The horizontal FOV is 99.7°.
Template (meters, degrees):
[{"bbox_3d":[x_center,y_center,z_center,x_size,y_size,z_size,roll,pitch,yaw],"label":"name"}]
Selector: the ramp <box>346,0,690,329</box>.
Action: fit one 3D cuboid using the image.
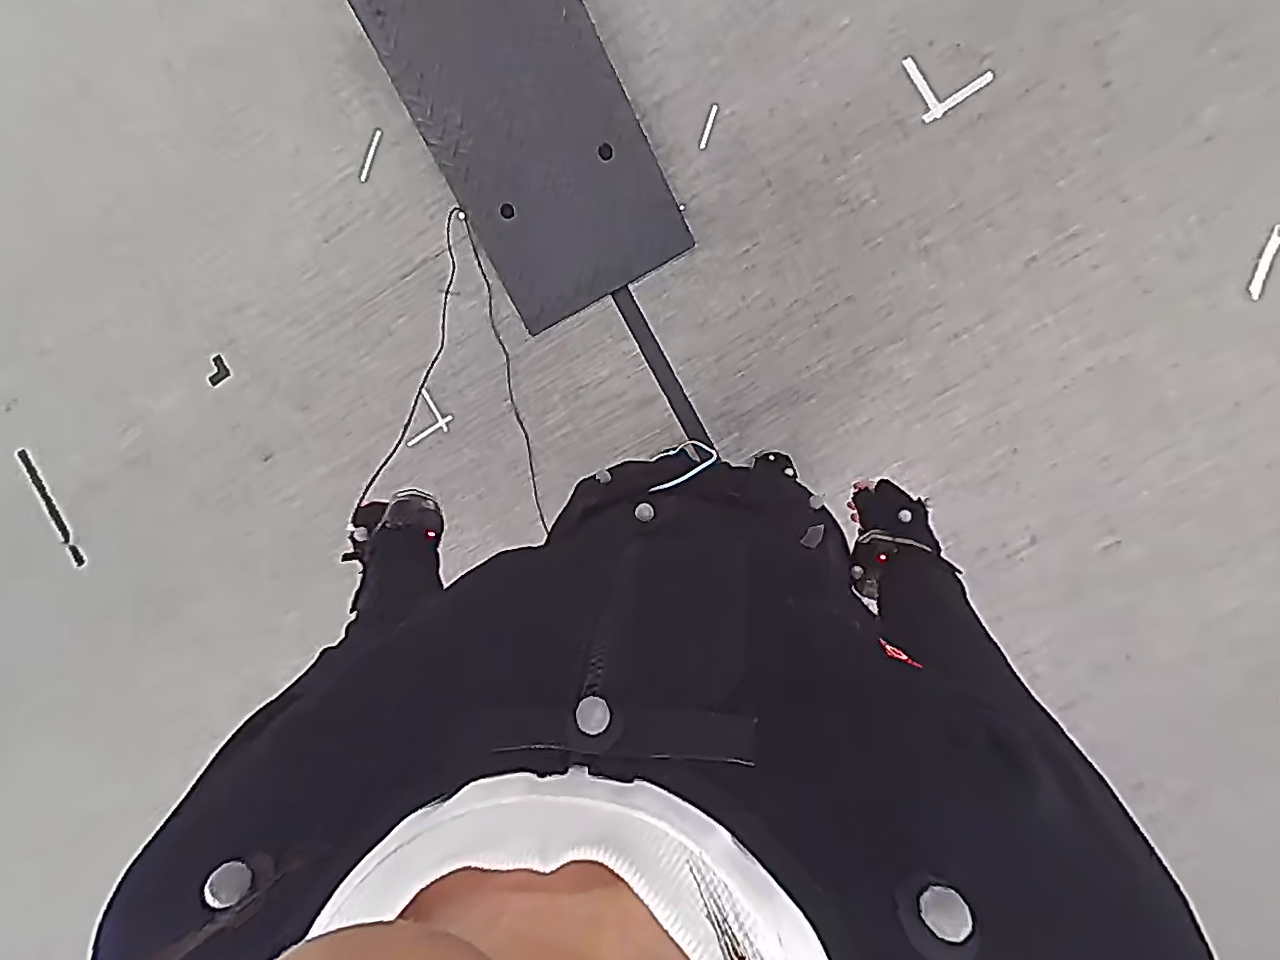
[{"bbox_3d":[-0.309,-0.932,1.308,0.509,0.206,0.991,-29,92,7],"label":"ramp"}]
